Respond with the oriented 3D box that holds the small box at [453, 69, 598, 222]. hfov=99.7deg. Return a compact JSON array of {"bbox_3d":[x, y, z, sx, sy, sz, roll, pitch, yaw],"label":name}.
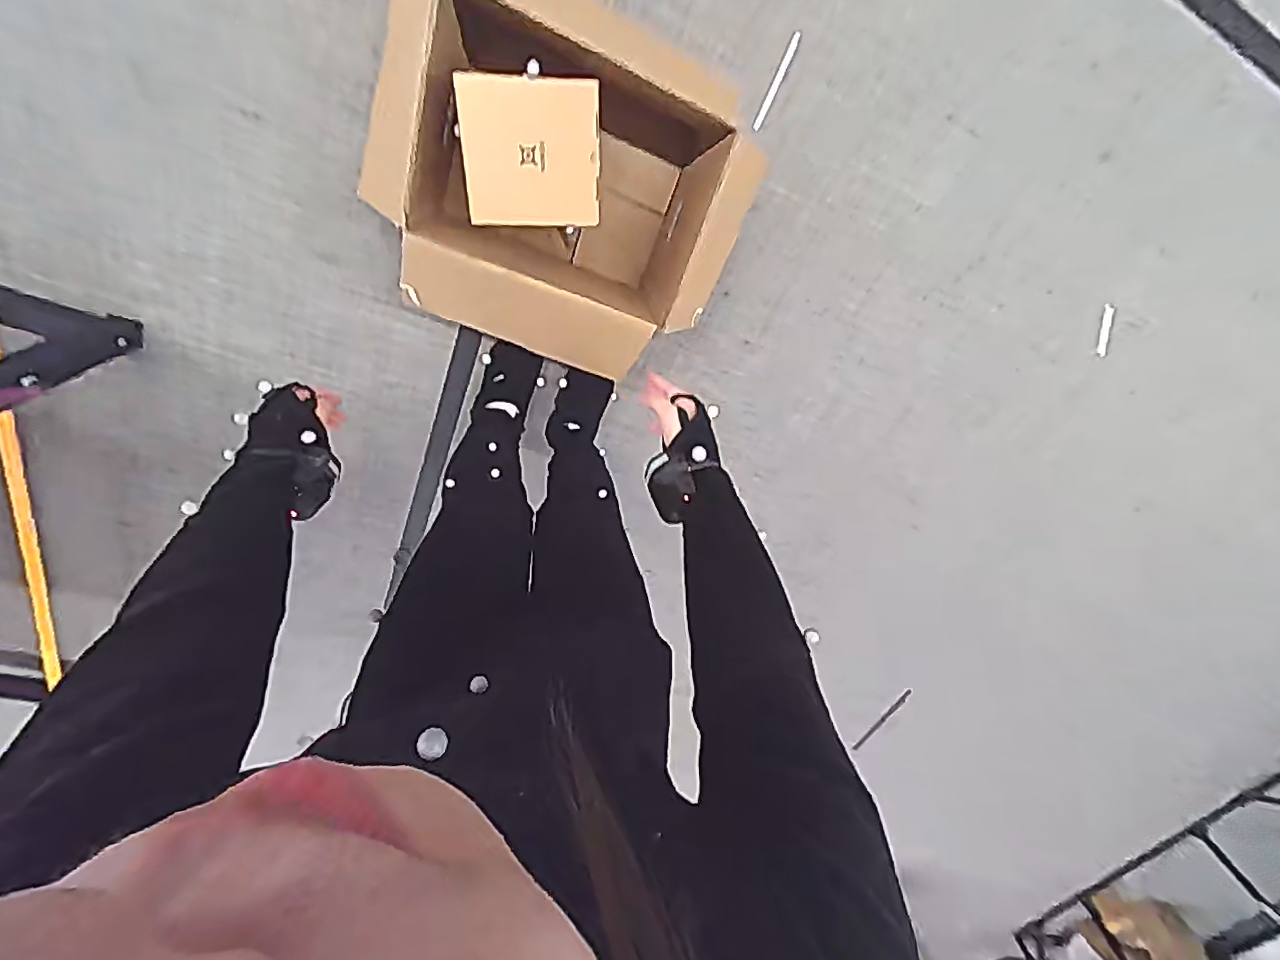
[{"bbox_3d":[-0.154,-0.469,0.766,0.179,0.176,0.168,-4,125,-9],"label":"small box"}]
